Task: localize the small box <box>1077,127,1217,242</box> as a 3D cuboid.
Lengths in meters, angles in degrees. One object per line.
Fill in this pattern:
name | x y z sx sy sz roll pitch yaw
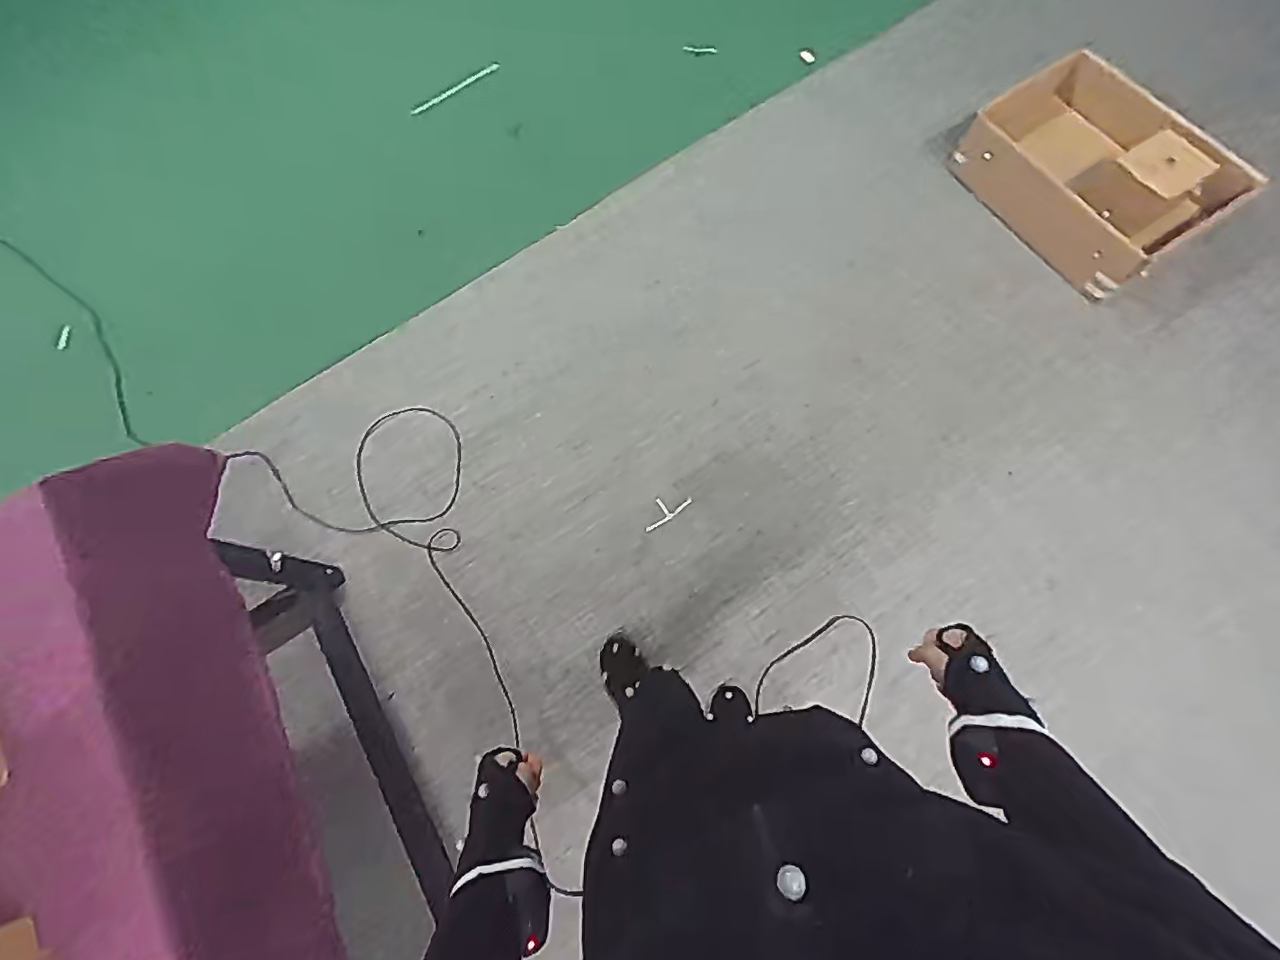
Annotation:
small box | 1.337 -0.783 1.443 0.179 0.176 0.168 -32 71 -3
